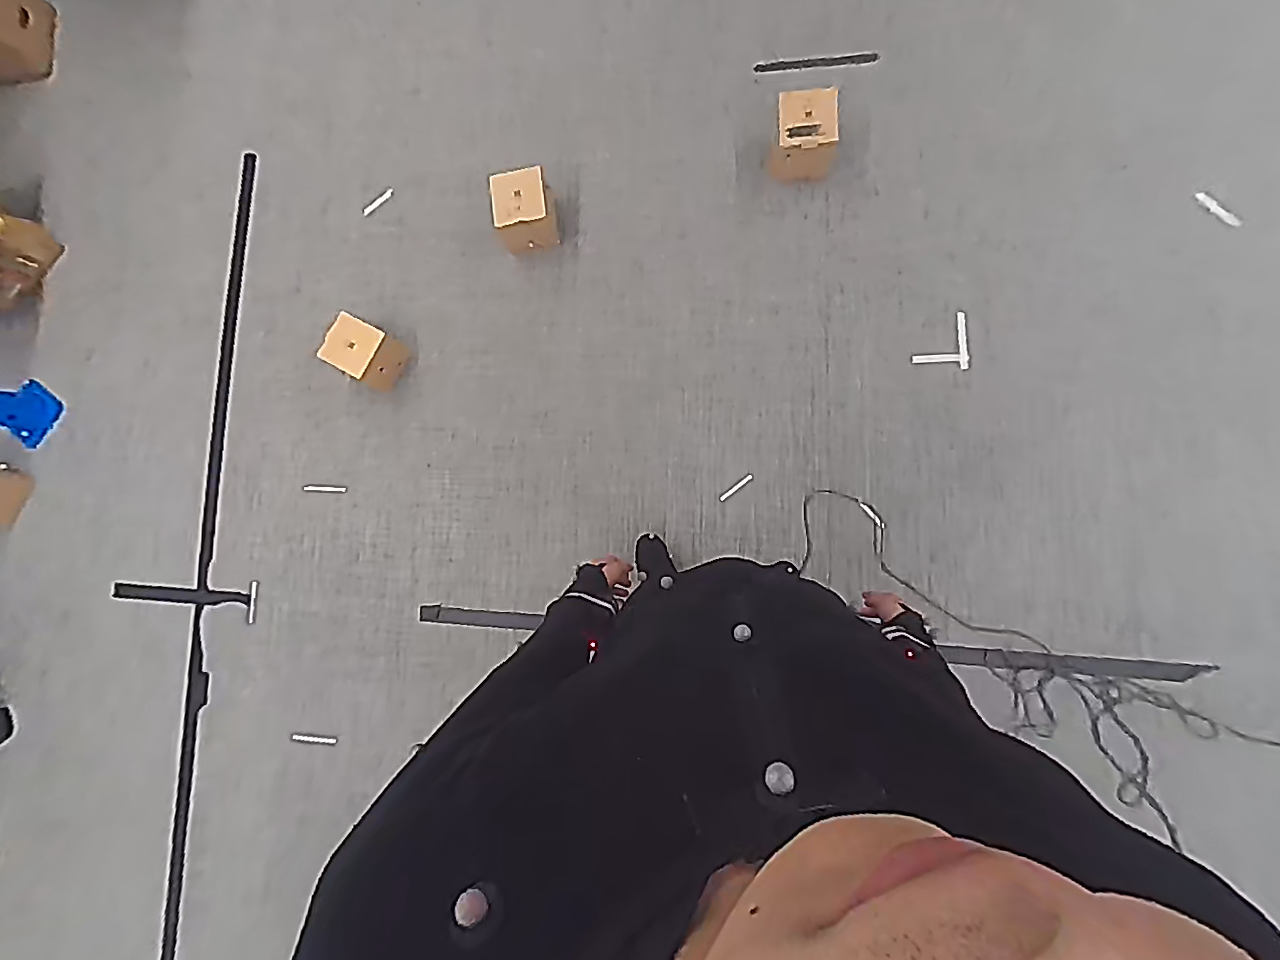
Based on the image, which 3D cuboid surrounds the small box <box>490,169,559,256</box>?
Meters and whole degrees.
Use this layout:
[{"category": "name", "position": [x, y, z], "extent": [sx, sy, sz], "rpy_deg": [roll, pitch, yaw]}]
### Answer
[{"category": "small box", "position": [-0.367, -0.851, 1.733], "extent": [0.168, 0.176, 0.179], "rpy_deg": [-8, 84, 6]}]

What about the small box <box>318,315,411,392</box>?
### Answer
[{"category": "small box", "position": [-0.882, -0.400, 1.749], "extent": [0.179, 0.176, 0.168], "rpy_deg": [27, 88, 9]}]
